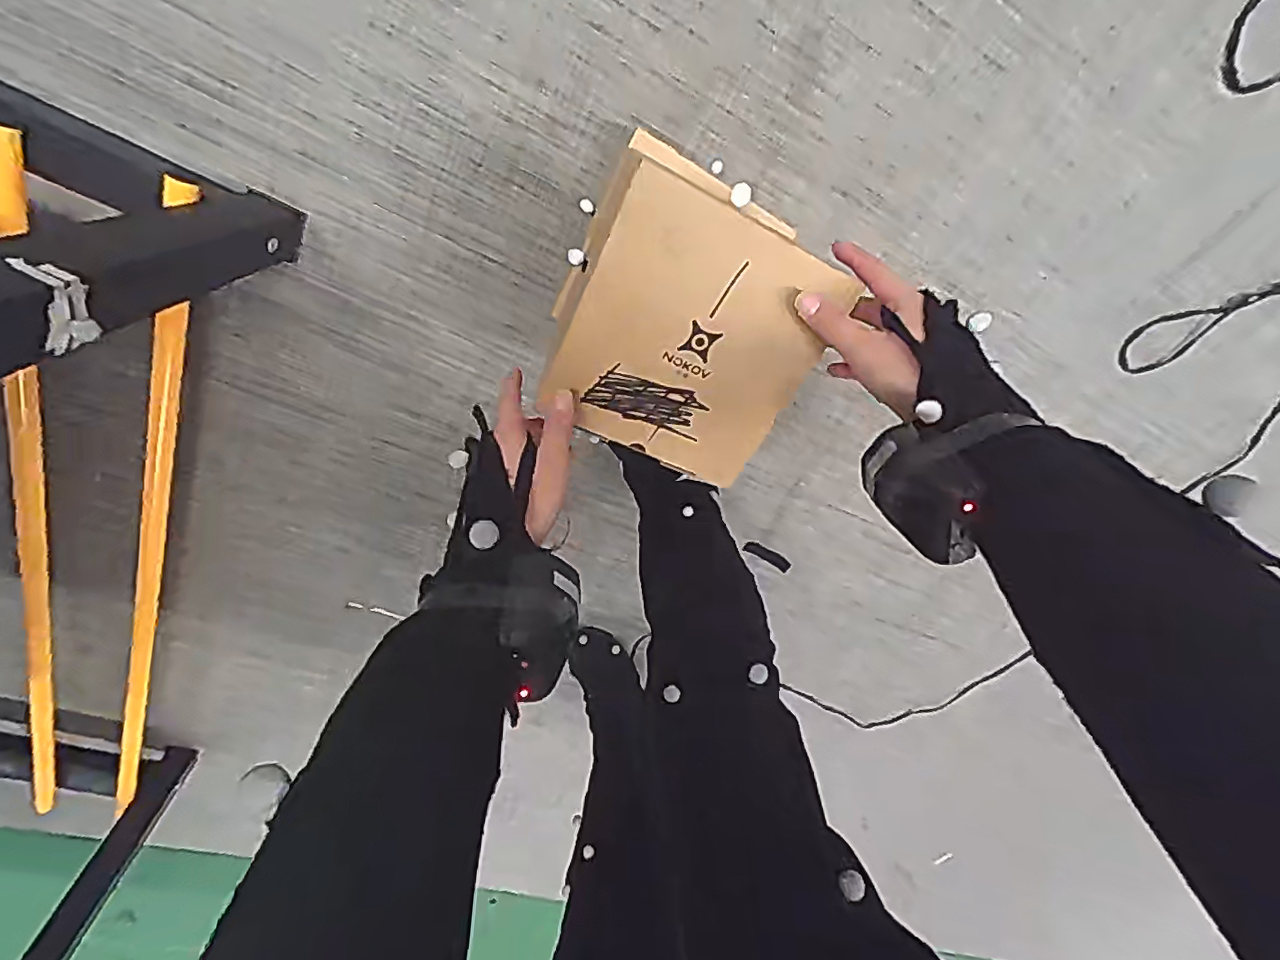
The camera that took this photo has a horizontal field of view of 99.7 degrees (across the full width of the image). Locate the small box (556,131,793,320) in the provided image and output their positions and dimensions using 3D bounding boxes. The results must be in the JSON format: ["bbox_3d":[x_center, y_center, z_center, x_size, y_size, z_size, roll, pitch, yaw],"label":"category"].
[{"bbox_3d":[0.024,-0.231,0.568,0.168,0.176,0.179,24,117,-17],"label":"small box"}]

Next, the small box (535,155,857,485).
[{"bbox_3d":[0.031,-0.132,0.437,0.168,0.176,0.179,22,118,-17],"label":"small box"}]
